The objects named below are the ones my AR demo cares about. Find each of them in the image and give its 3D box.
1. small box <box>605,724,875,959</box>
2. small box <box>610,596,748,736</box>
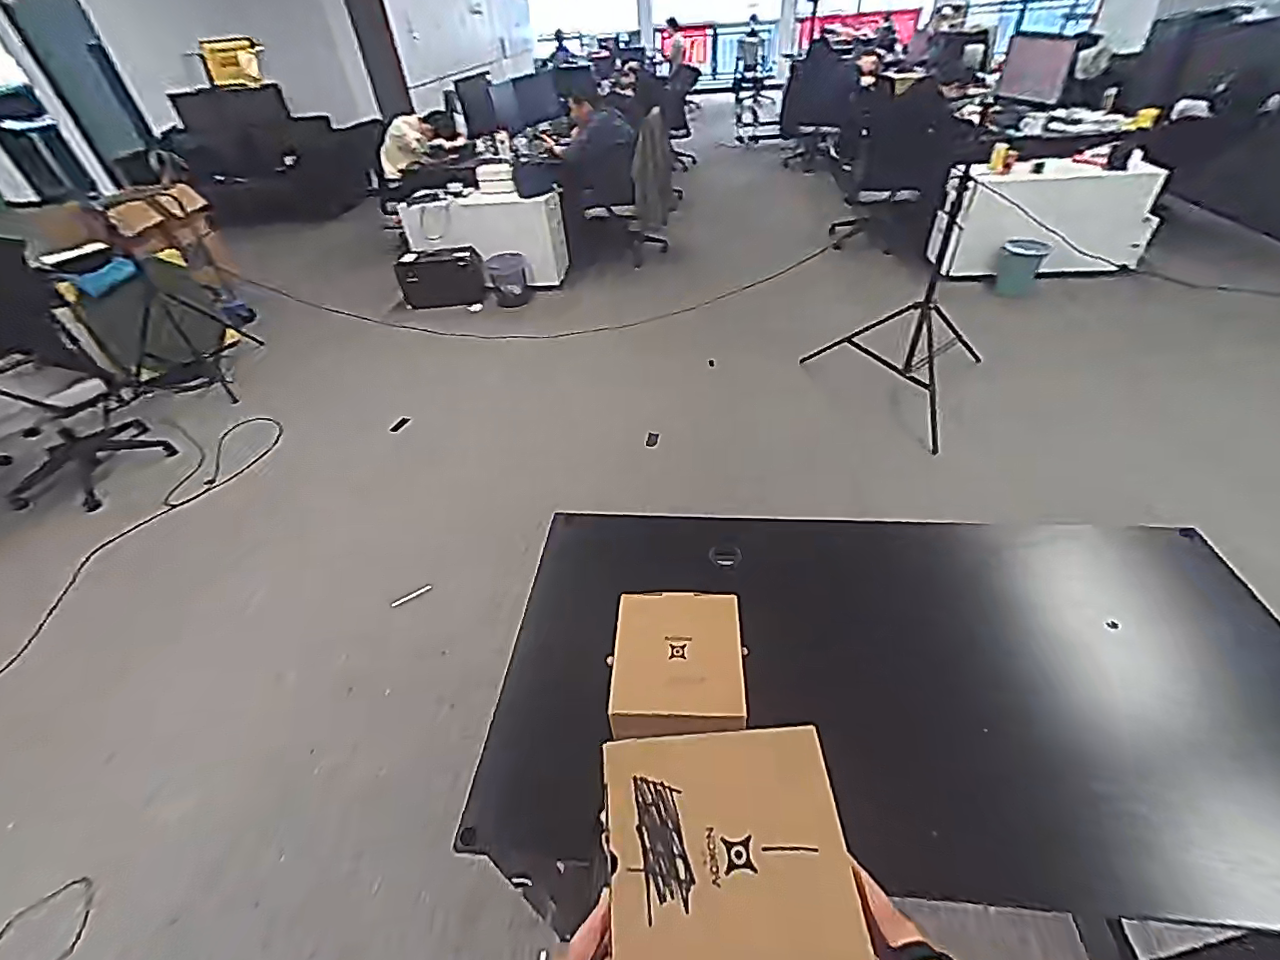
[{"bbox_3d":[0.065,0.319,0.452,0.179,0.176,0.168,-3,50,-1],"label":"small box"},{"bbox_3d":[0.055,0.282,0.752,0.168,0.176,0.179,-2,42,5],"label":"small box"}]
